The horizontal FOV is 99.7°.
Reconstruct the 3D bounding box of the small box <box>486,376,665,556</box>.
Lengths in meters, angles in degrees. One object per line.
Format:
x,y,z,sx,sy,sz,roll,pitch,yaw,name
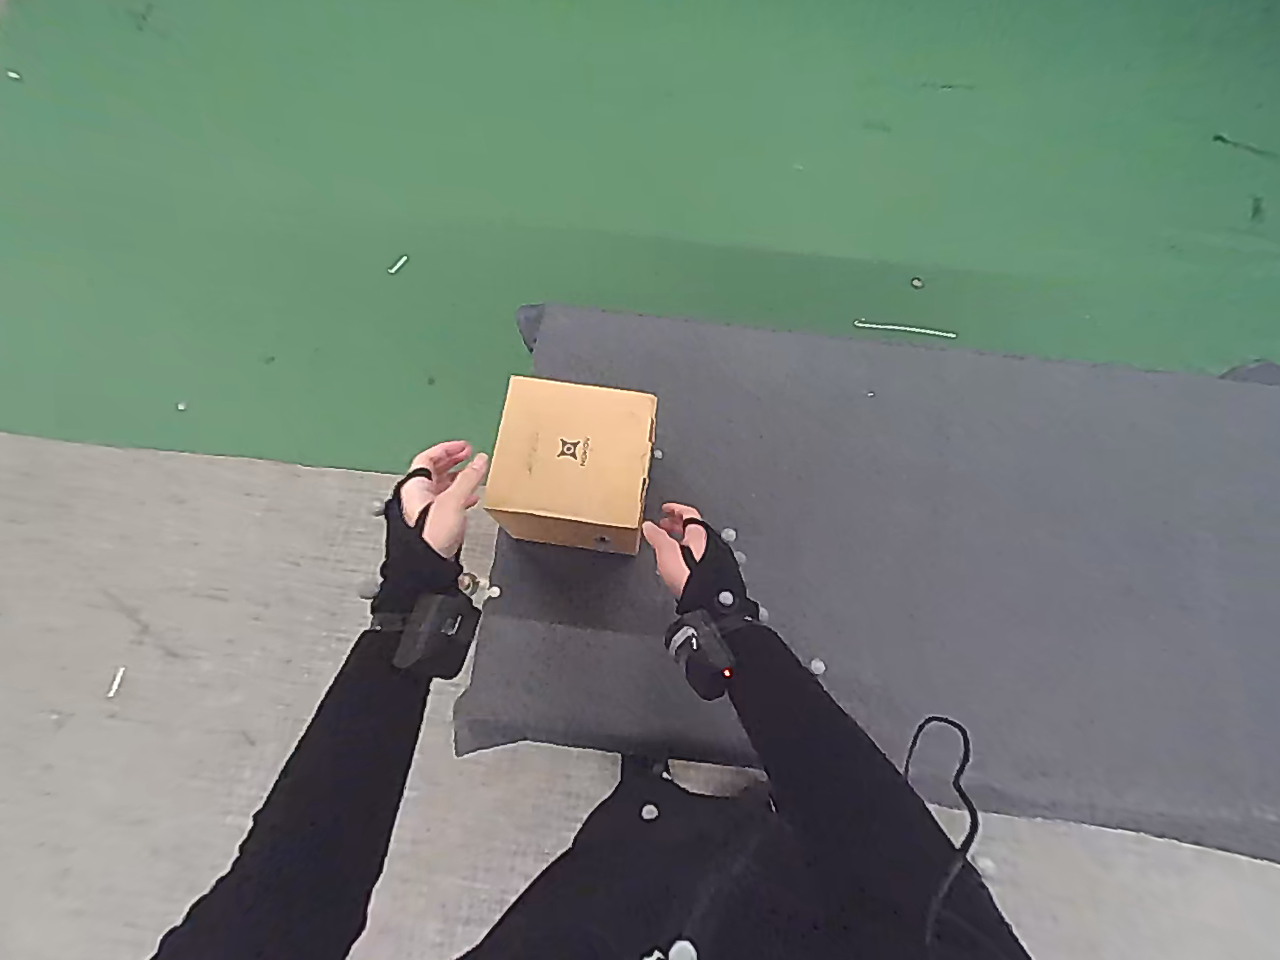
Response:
-0.071,-0.007,0.679,0.179,0.176,0.168,9,71,2,small box
